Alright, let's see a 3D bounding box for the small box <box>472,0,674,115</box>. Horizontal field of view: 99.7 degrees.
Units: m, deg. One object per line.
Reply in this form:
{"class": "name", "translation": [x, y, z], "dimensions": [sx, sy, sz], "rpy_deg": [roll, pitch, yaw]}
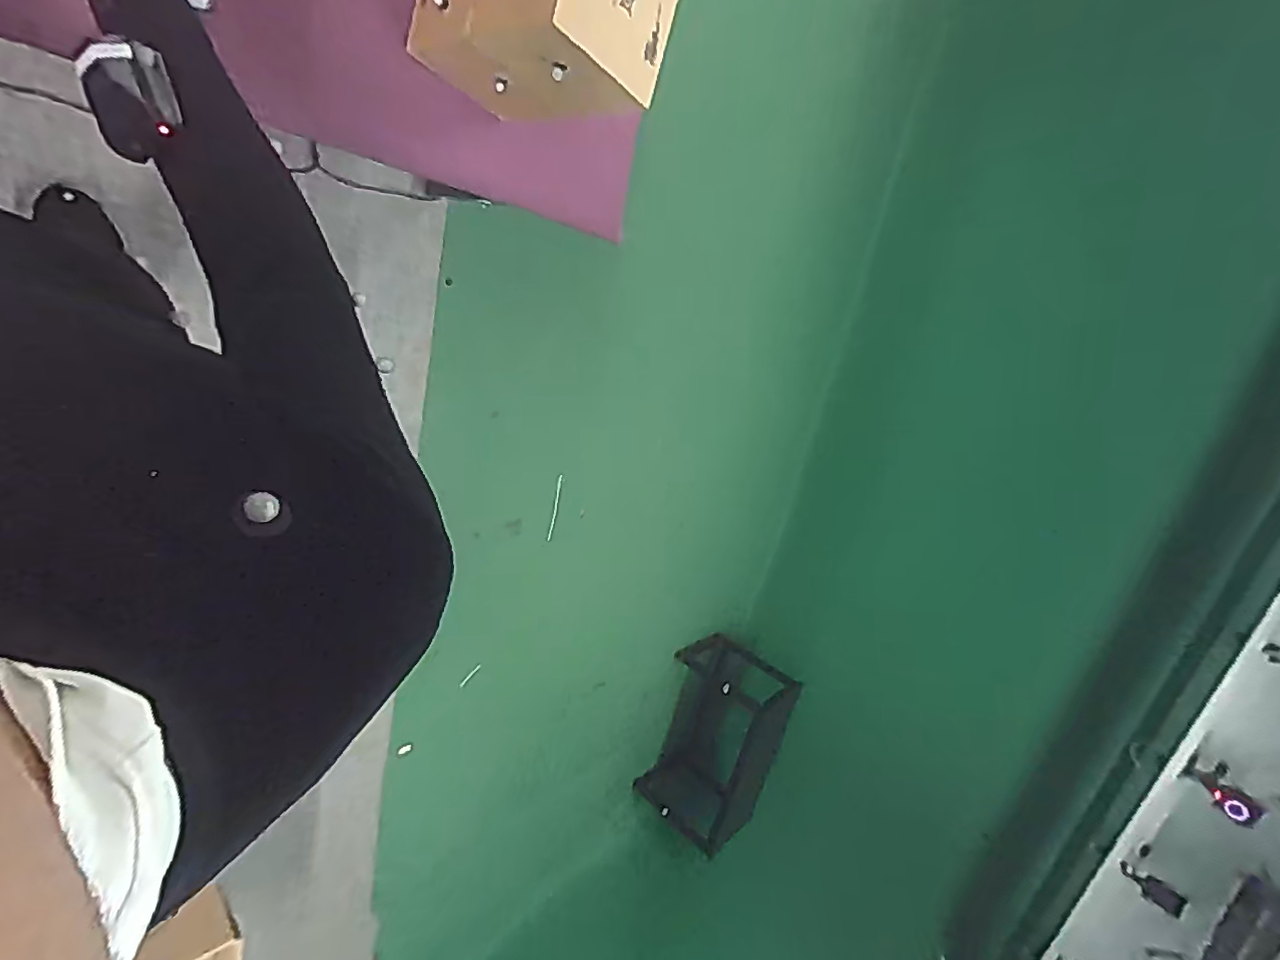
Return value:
{"class": "small box", "translation": [-0.085, -0.591, 0.685], "dimensions": [0.179, 0.176, 0.168], "rpy_deg": [2, 109, -51]}

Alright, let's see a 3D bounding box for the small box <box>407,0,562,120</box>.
{"class": "small box", "translation": [-0.205, -0.649, 0.780], "dimensions": [0.179, 0.176, 0.168], "rpy_deg": [6, 105, -53]}
